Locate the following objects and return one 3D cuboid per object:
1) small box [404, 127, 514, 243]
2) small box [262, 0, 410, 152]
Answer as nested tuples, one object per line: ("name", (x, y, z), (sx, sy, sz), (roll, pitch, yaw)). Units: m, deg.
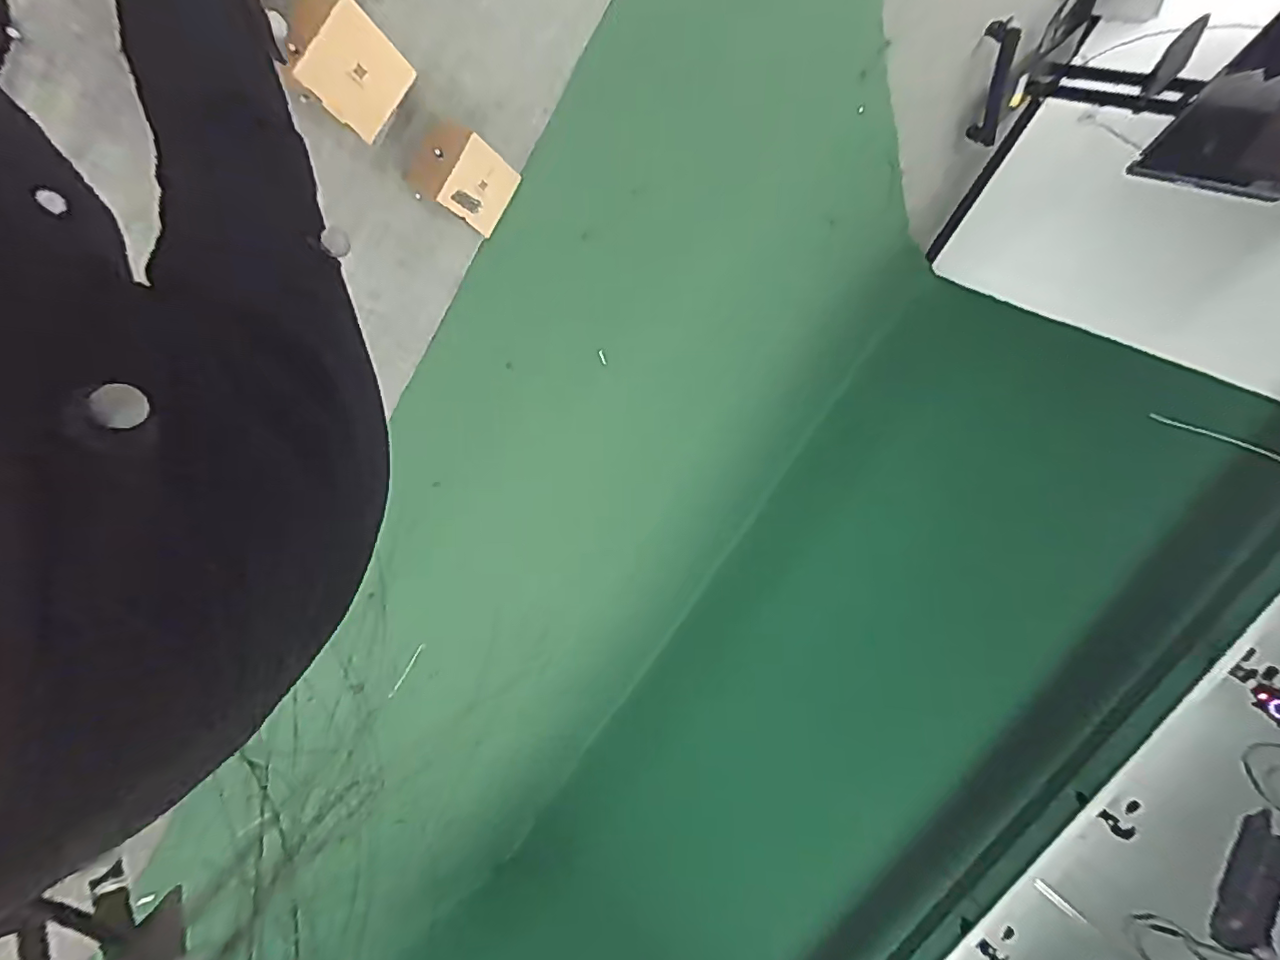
("small box", (-0.455, -0.733, 1.344), (0.179, 0.176, 0.168), (-58, 150, 7))
("small box", (-0.604, -0.801, 1.069), (0.179, 0.176, 0.168), (-54, 150, 4))
